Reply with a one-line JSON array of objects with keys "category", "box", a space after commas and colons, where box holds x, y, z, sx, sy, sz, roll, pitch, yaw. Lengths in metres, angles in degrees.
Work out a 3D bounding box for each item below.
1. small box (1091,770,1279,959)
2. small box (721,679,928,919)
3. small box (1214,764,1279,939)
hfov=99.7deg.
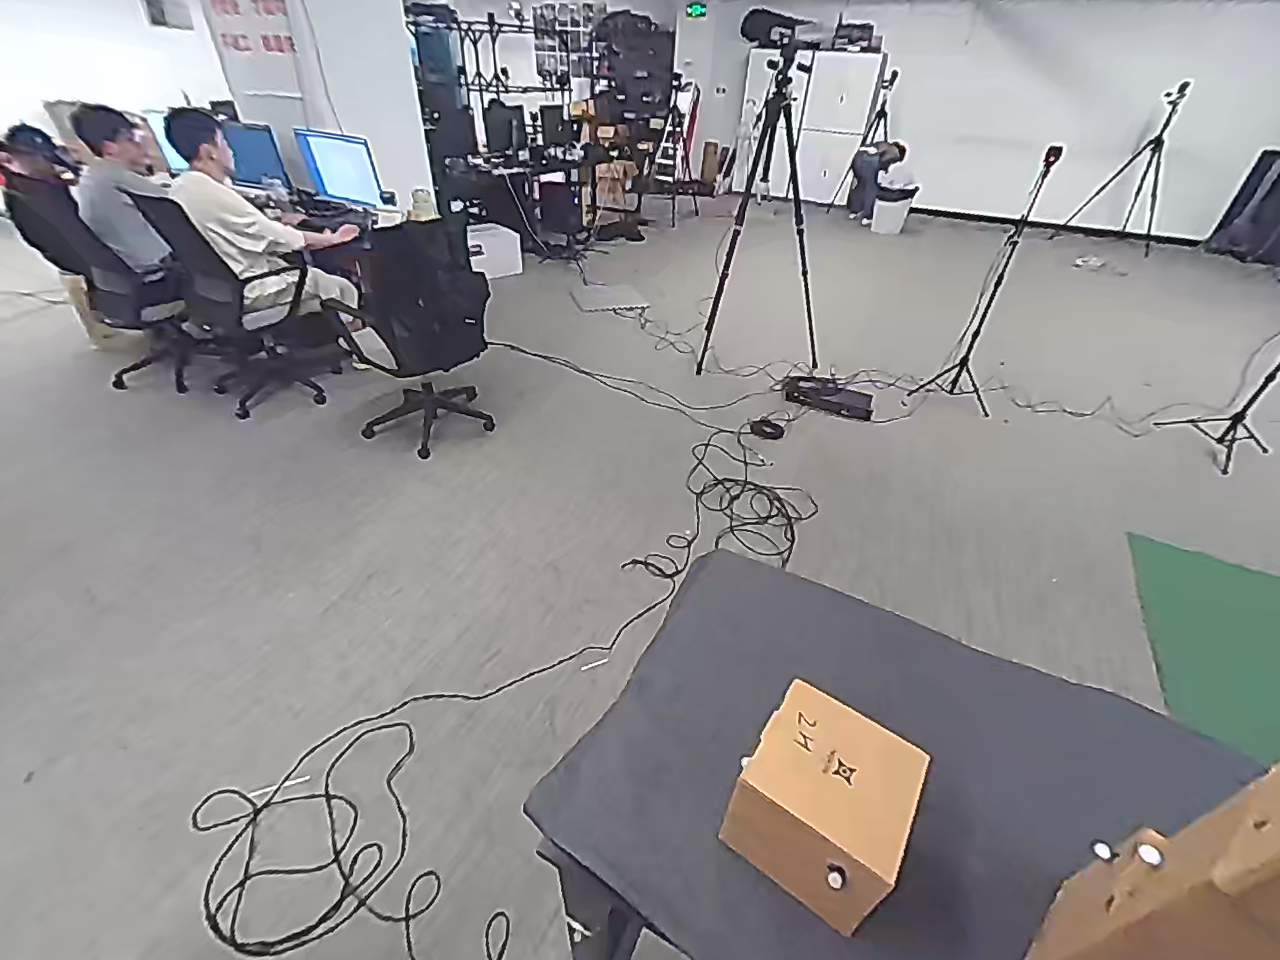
[{"category": "small box", "box": [0.530, 0.385, 0.433, 0.168, 0.176, 0.179, -17, 41, -26]}, {"category": "small box", "box": [0.221, 0.397, 0.674, 0.179, 0.176, 0.168, 25, 41, 27]}, {"category": "small box", "box": [0.535, 0.254, 0.337, 0.168, 0.176, 0.179, -19, 42, -28]}]
